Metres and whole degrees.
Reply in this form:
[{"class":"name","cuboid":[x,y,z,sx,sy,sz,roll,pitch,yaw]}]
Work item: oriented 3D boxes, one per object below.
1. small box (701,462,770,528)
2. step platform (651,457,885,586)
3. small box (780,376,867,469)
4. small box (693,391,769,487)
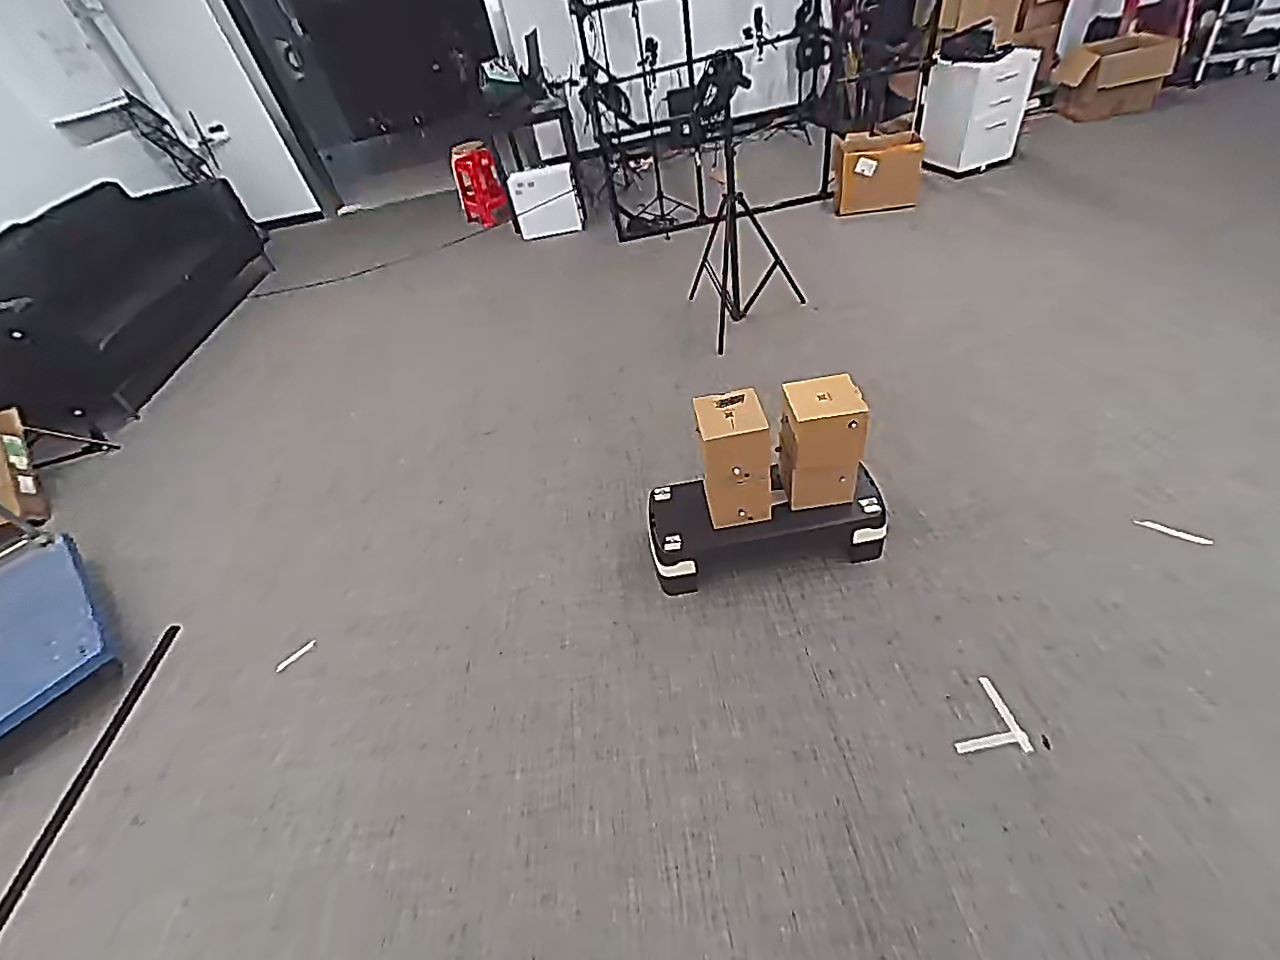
[{"class":"small box","cuboid":[0.268,0.011,1.539,0.168,0.176,0.179,-10,43,4]},{"class":"step platform","cuboid":[0.377,0.106,1.666,0.684,0.204,0.286,-12,43,3]},{"class":"small box","cuboid":[0.472,-0.147,1.415,0.179,0.176,0.168,-9,43,4]},{"class":"small box","cuboid":[0.238,-0.108,1.429,0.168,0.176,0.179,-10,44,4]}]
